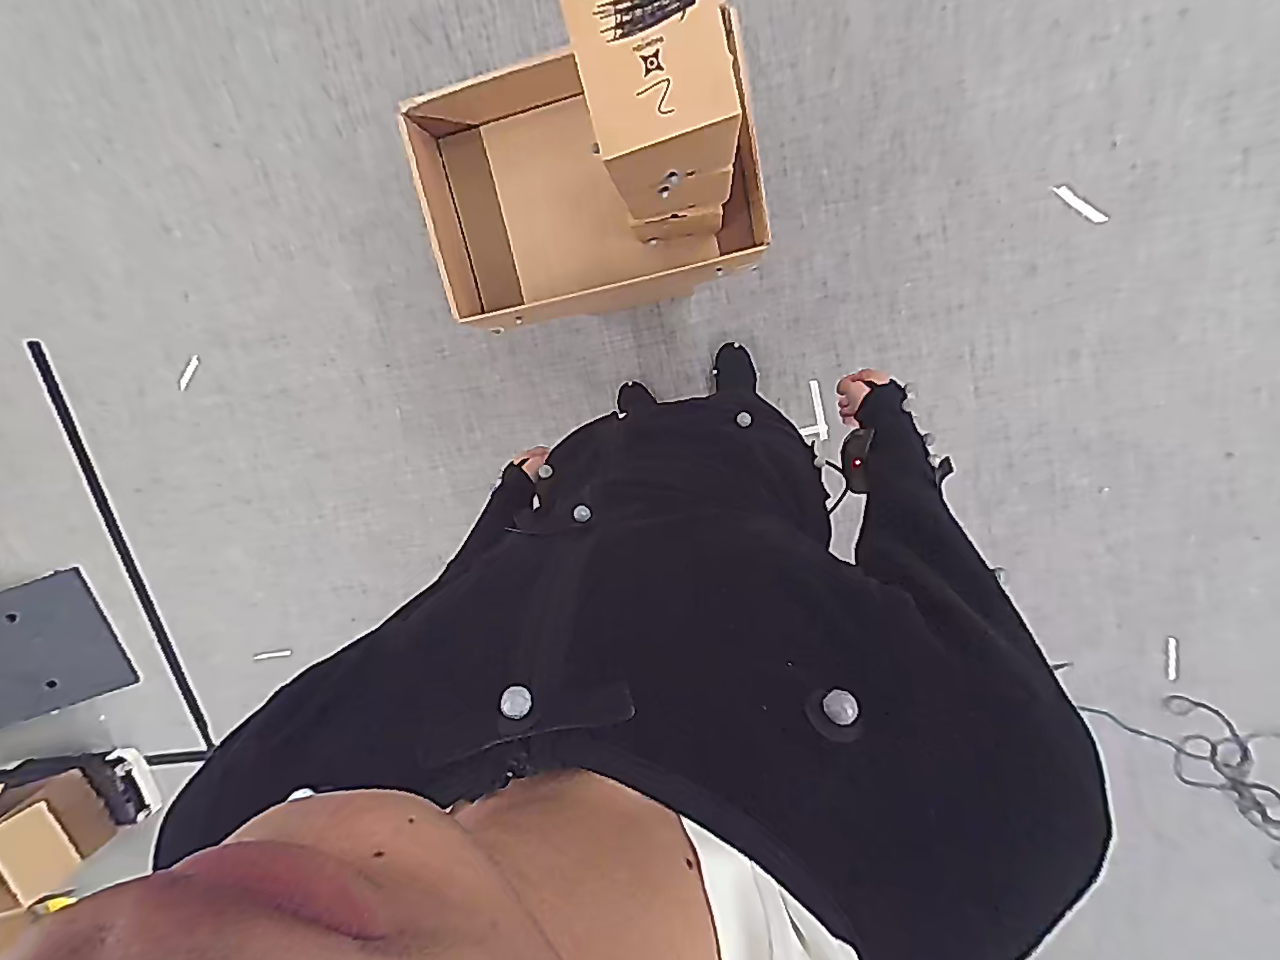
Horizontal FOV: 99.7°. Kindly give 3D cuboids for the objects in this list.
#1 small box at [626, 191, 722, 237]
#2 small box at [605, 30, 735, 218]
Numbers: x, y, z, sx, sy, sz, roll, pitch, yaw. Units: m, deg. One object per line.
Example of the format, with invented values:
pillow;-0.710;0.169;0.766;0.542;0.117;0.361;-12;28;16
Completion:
small box;0.063;-0.556;0.990;0.168;0.176;0.179;-4;102;7
small box;0.050;-0.528;0.829;0.168;0.176;0.179;-7;102;9
